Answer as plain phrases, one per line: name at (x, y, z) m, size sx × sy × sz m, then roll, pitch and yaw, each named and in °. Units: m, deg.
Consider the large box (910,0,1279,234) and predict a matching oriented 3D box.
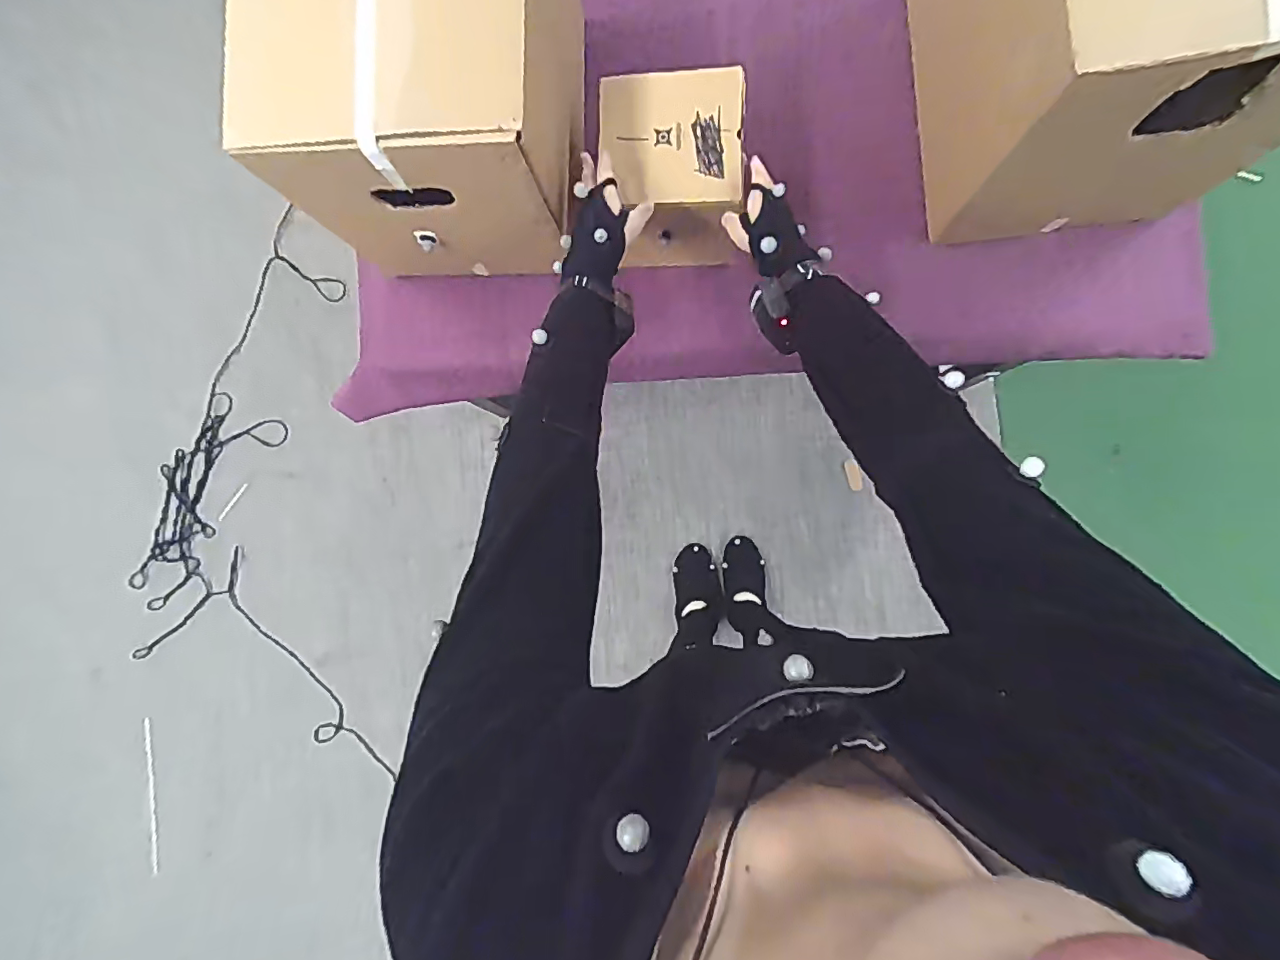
large box at (0.534, -0.559, 0.610) m, size 0.320 × 0.320 × 0.408 m, roll -5°, pitch 88°, yaw 8°
